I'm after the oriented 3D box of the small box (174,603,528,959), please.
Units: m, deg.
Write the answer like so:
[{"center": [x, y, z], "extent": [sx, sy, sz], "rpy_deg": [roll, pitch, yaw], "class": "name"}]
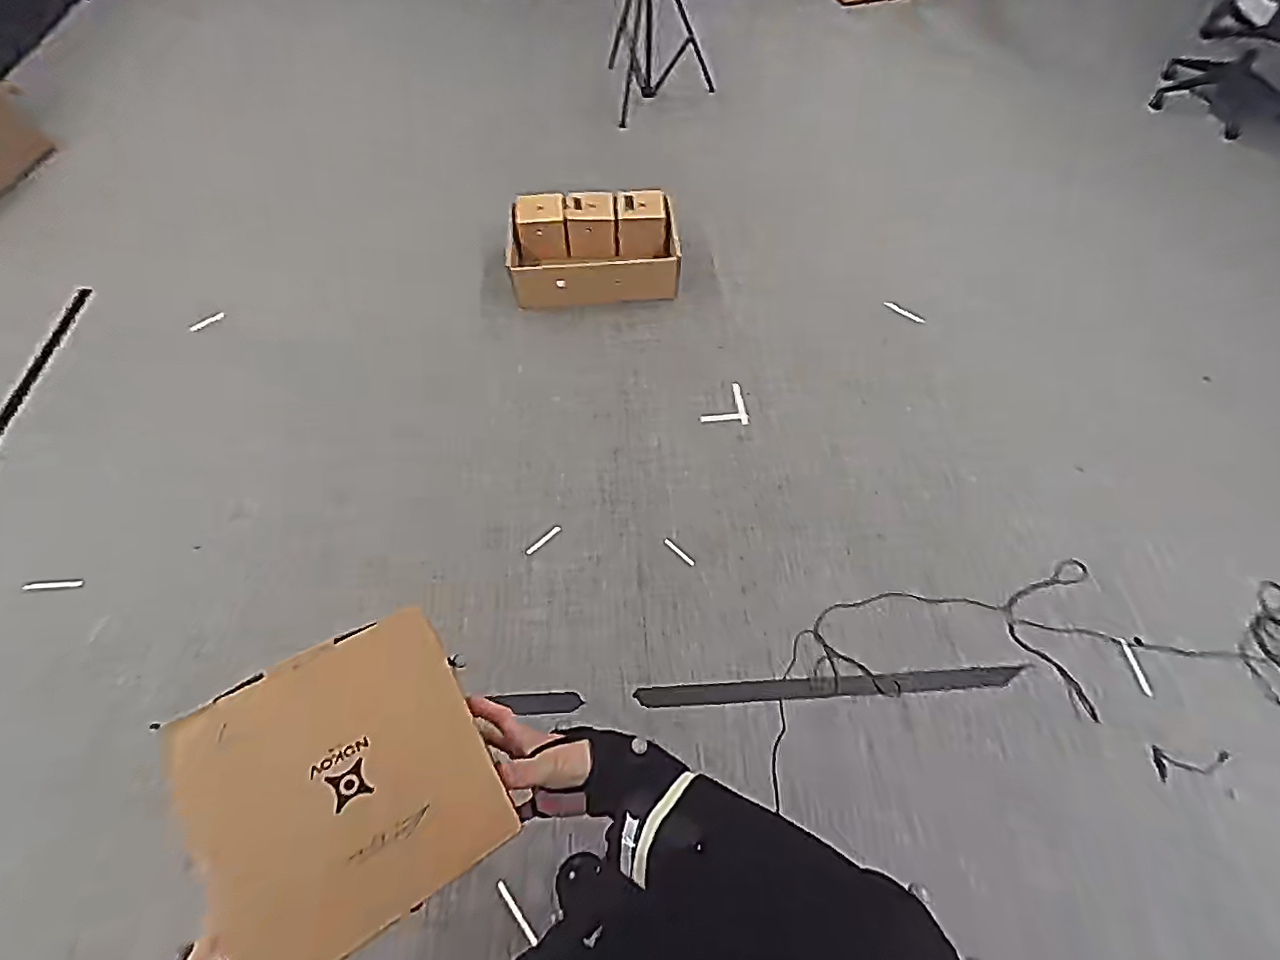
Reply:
[{"center": [-0.202, 0.225, 0.415], "extent": [0.168, 0.176, 0.179], "rpy_deg": [-24, 73, -24], "class": "small box"}]
